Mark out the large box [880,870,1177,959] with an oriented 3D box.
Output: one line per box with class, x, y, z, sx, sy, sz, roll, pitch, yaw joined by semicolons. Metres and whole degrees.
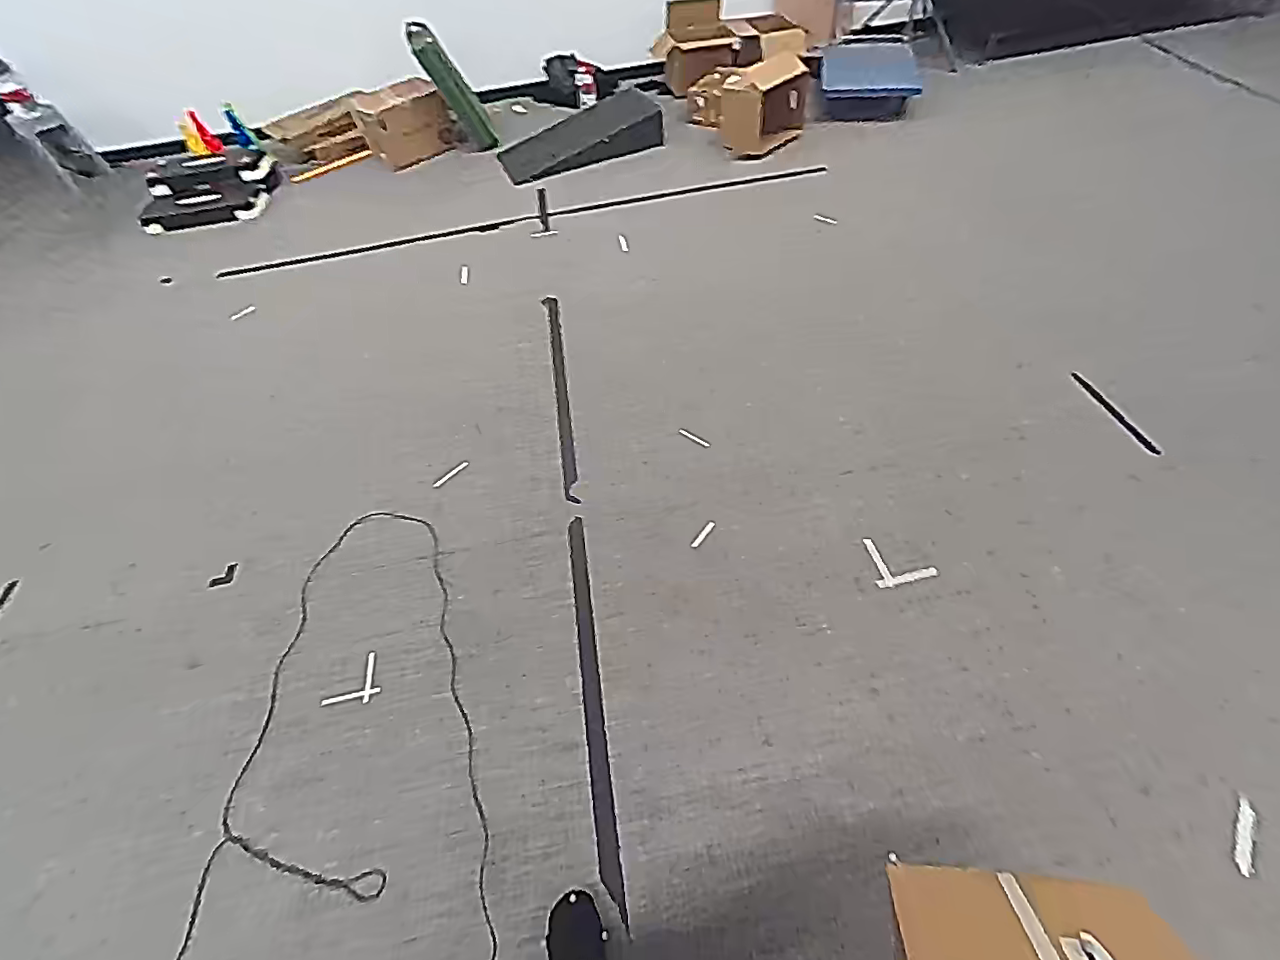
large box;0.475;0.721;0.584;0.320;0.408;0.320;-4;87;15
